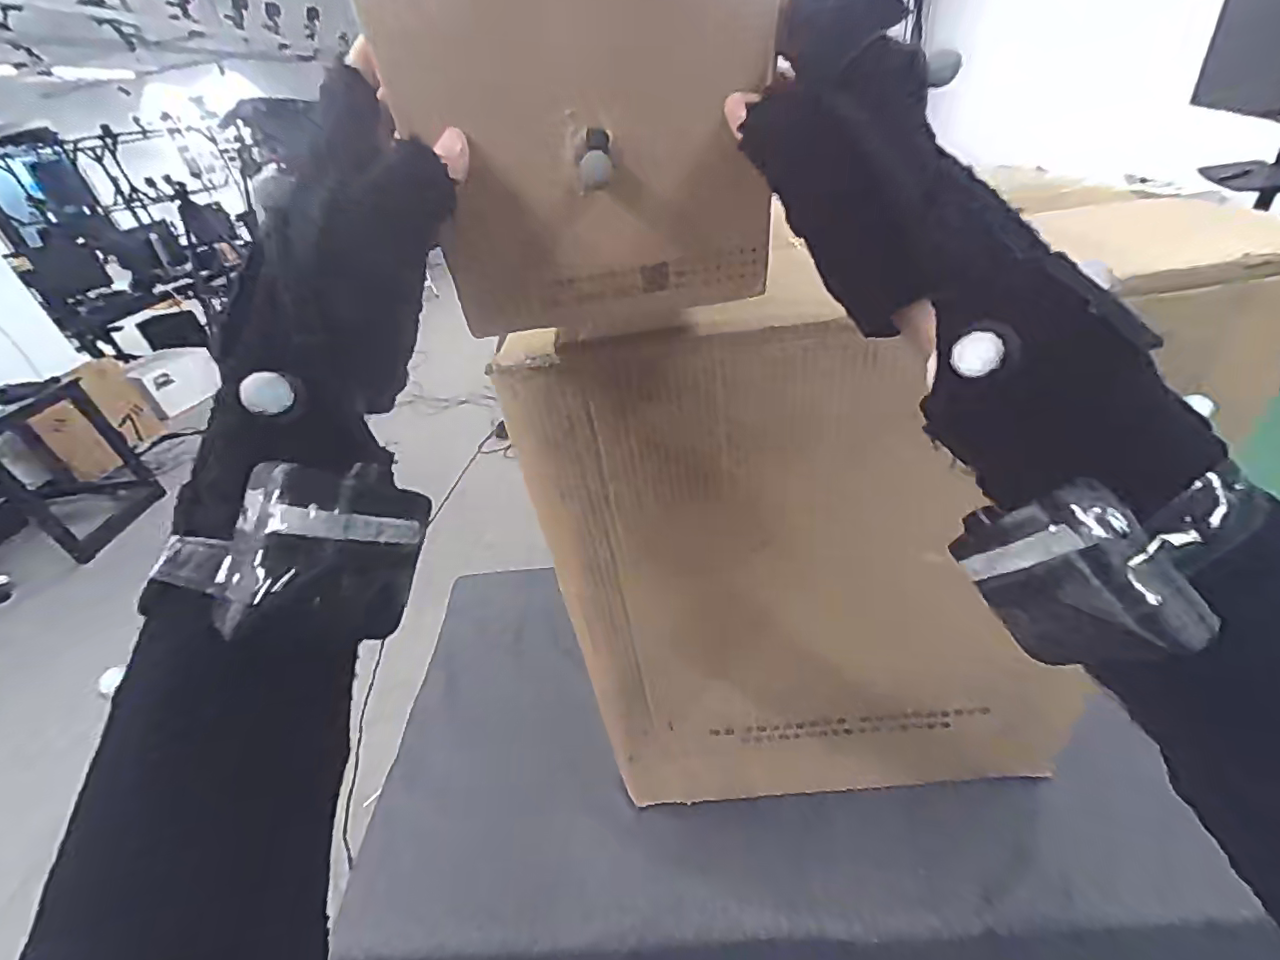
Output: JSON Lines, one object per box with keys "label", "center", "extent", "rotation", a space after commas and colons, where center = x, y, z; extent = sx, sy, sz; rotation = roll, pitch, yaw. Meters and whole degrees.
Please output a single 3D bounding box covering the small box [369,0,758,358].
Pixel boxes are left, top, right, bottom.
{"label": "small box", "center": [-0.027, -0.187, 0.331], "extent": [0.168, 0.176, 0.179], "rotation": [-10, 41, 1]}
